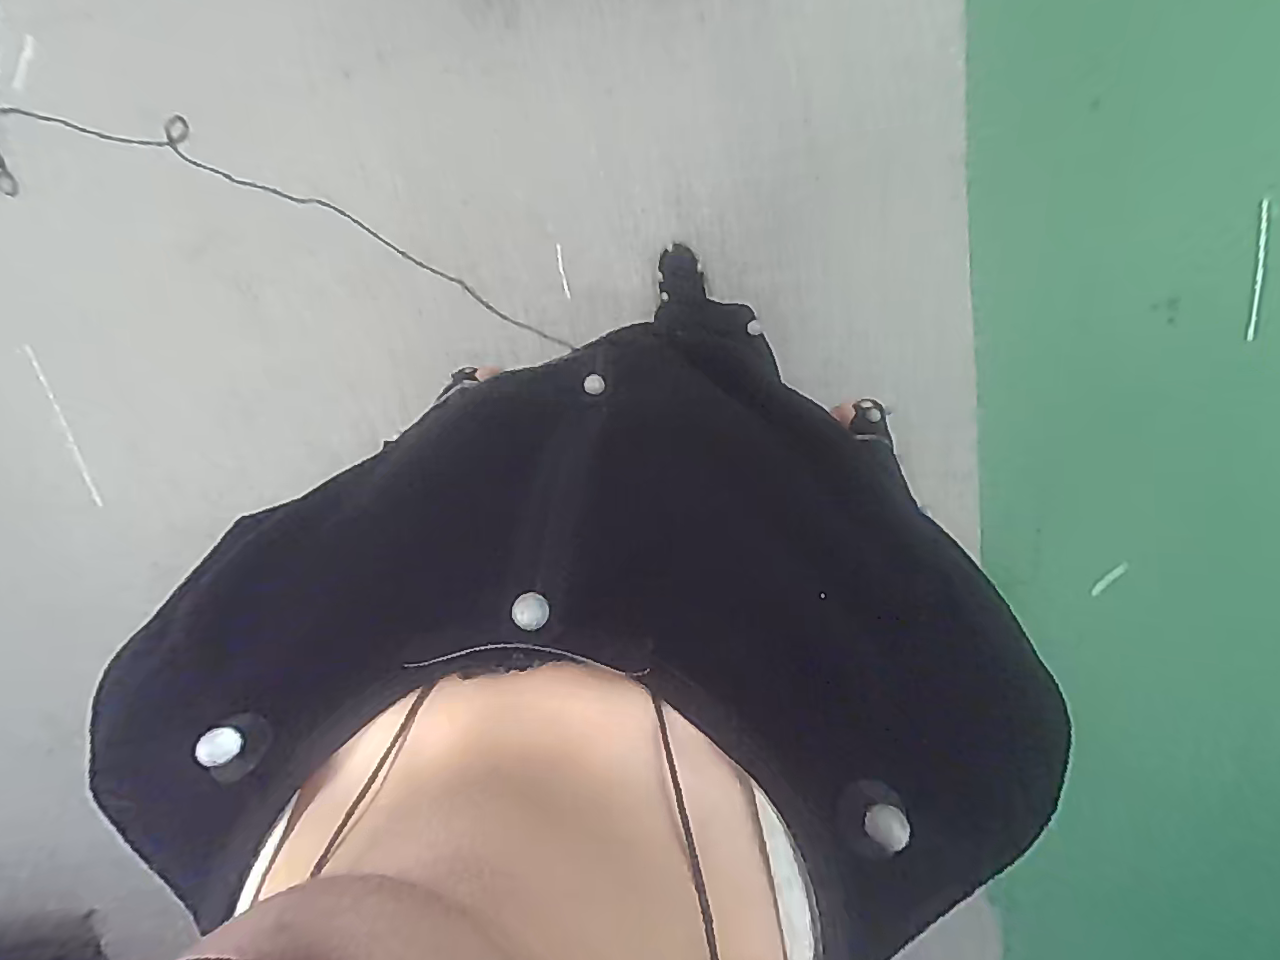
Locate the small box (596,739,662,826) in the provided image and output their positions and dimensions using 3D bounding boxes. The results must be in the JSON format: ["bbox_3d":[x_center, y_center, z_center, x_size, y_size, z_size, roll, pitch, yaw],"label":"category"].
[{"bbox_3d":[-0.029,0.903,1.637,0.179,0.176,0.168,7,105,3],"label":"small box"}]
